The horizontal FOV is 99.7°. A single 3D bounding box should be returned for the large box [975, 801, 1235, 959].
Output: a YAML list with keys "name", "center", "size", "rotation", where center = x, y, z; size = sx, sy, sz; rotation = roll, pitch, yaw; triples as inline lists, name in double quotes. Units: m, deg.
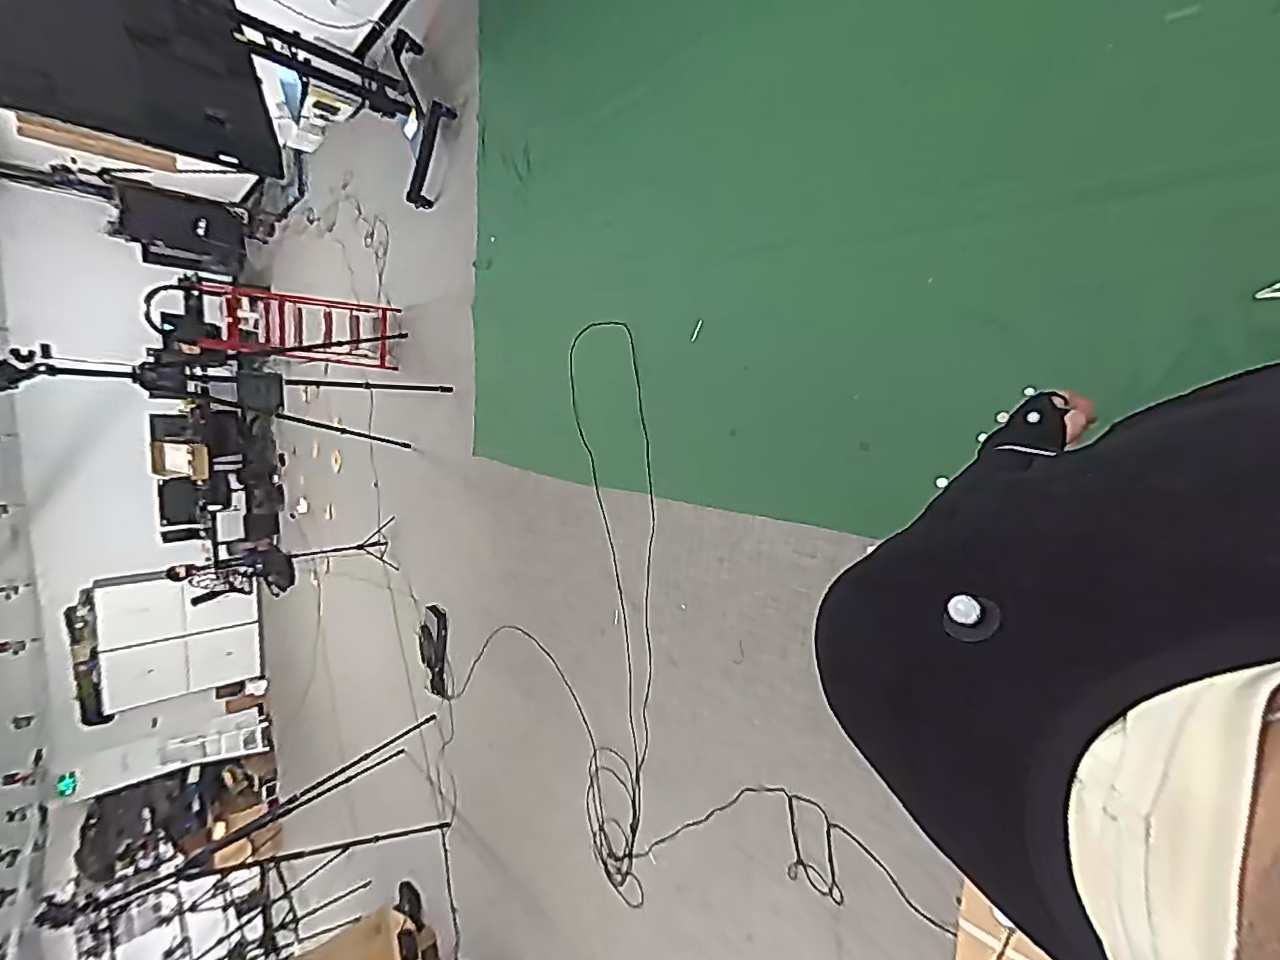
- name: "large box"
  center: [1.033, 1.028, 1.229]
  size: [0.408, 0.320, 0.320]
  rotation: [7, 99, 44]
